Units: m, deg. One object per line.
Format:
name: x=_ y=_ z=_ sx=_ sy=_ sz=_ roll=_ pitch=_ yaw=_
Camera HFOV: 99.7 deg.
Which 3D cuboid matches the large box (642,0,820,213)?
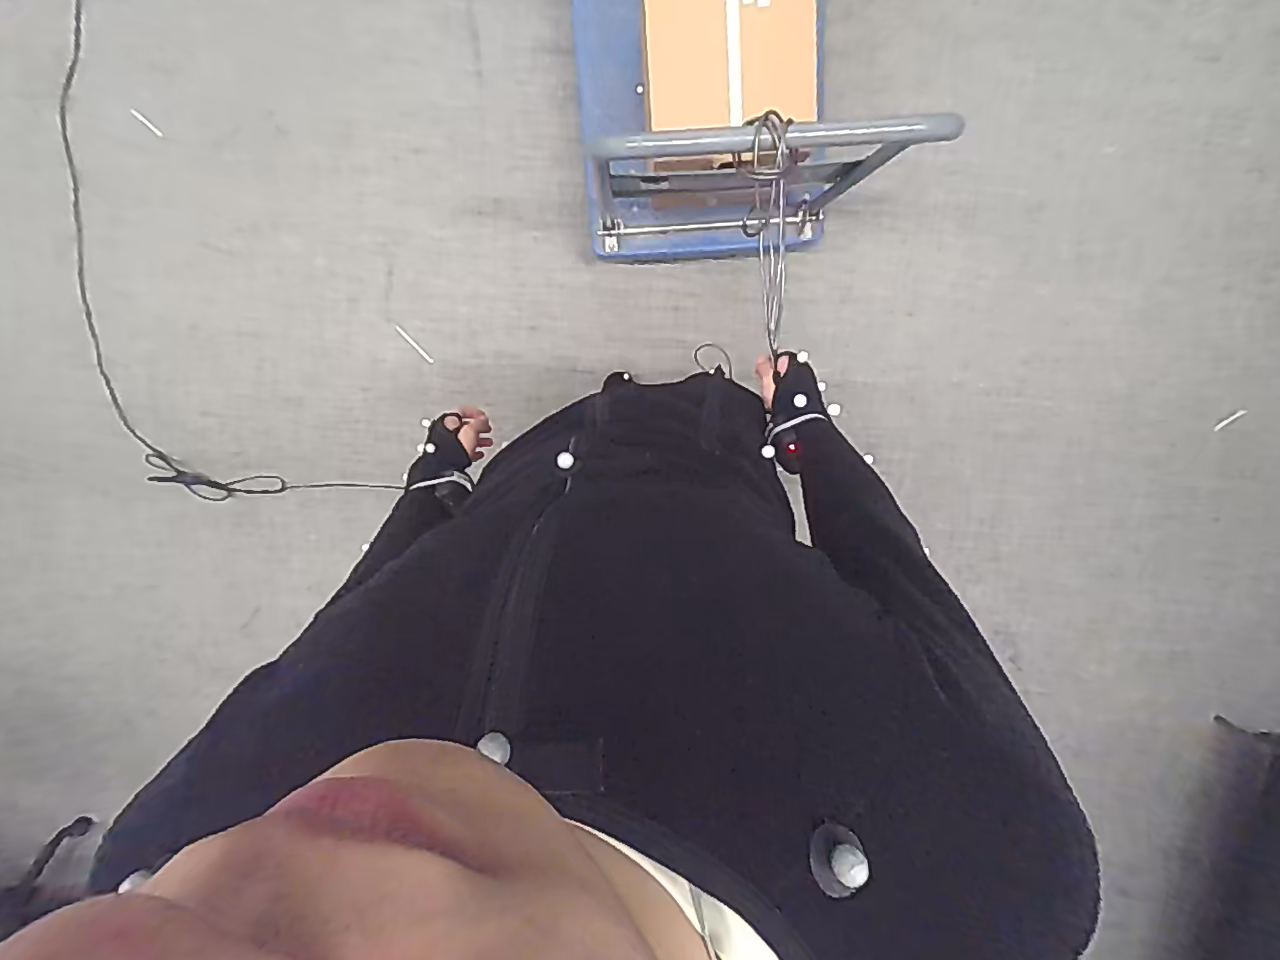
large box: x=0.170 y=-0.823 z=1.126 sx=0.320 sy=0.320 sz=0.408 roll=-4 pitch=100 yaw=0
